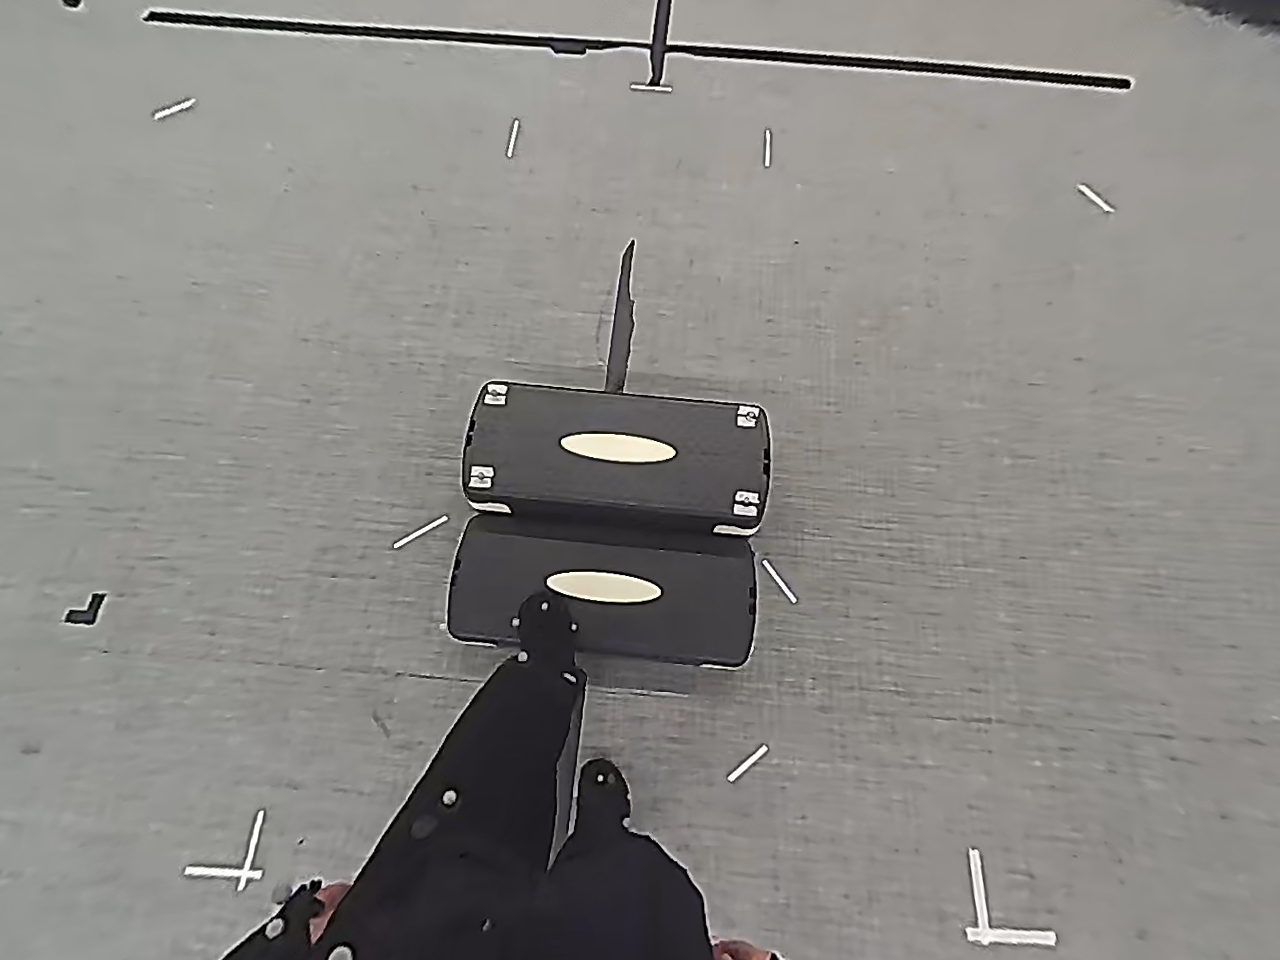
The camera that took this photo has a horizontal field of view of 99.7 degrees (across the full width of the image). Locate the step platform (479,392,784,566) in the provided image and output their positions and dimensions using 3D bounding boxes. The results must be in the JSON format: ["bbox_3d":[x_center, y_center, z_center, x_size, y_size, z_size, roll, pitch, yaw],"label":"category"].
[{"bbox_3d":[-0.016,0.000,1.262,0.684,0.204,0.286,10,70,2],"label":"step platform"}]
